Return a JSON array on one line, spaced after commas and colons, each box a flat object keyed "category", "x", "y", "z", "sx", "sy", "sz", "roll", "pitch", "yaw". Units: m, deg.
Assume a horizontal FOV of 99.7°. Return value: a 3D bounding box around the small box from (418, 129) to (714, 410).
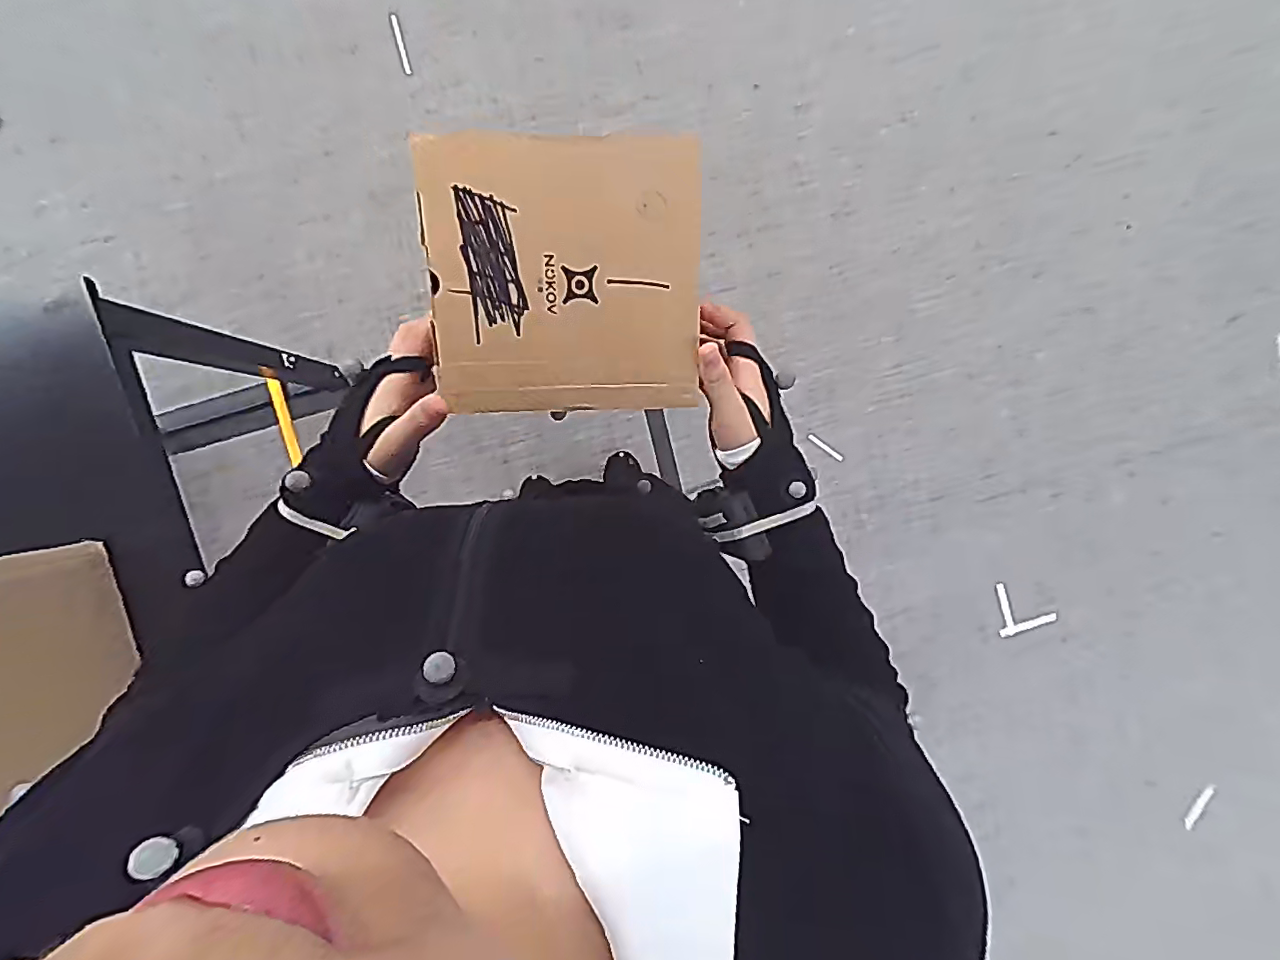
[{"category": "small box", "x": -0.047, "y": -0.148, "z": 0.414, "sx": 0.179, "sy": 0.176, "sz": 0.168, "roll": -2, "pitch": 107, "yaw": -4}]
